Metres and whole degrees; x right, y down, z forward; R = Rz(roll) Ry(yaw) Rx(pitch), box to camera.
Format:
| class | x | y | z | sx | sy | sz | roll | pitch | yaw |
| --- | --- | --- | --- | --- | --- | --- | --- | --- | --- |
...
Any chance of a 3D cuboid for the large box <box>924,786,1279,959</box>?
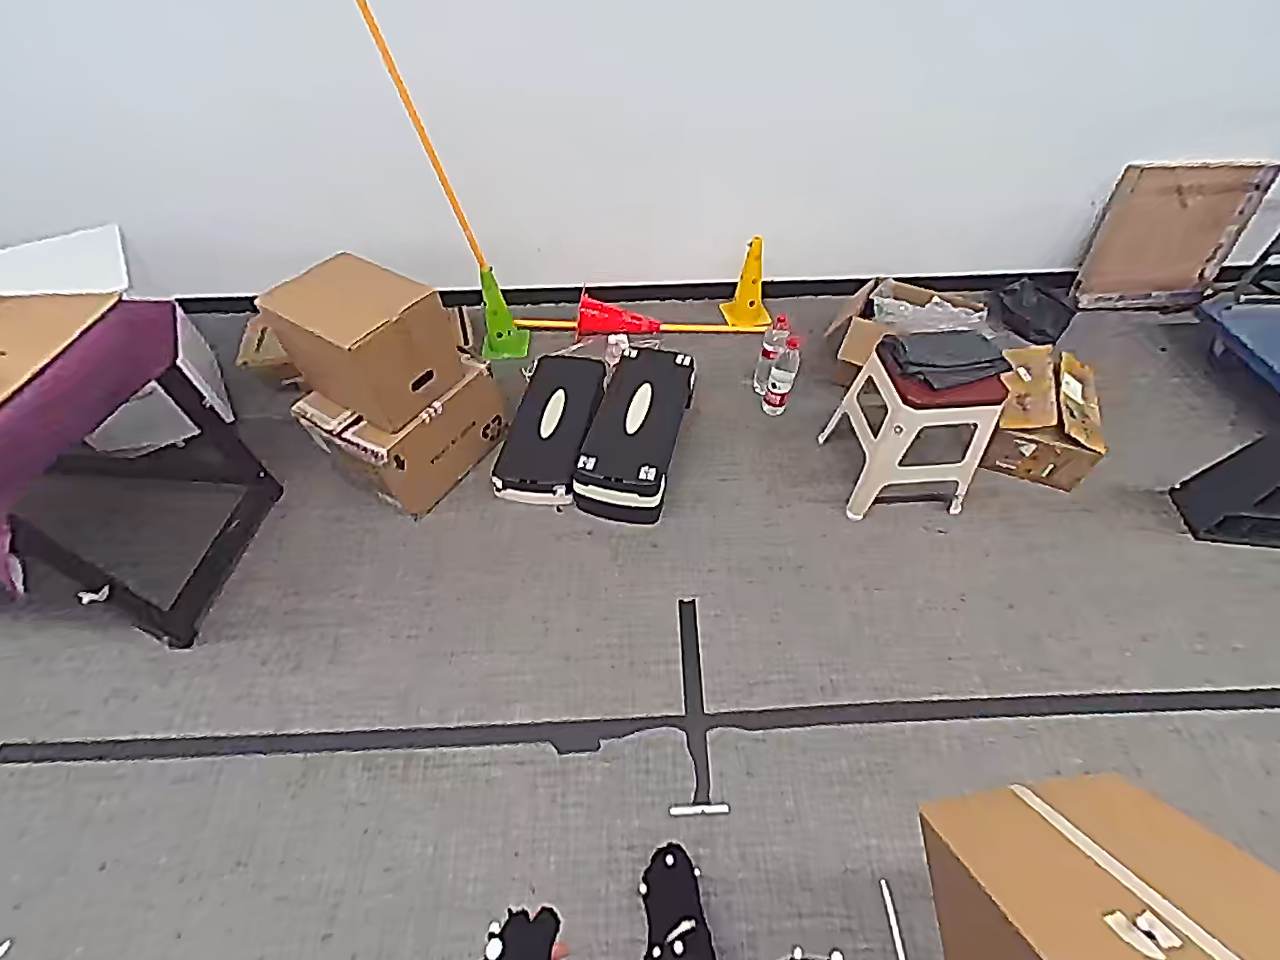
| class | x | y | z | sx | sy | sz | roll | pitch | yaw |
| --- | --- | --- | --- | --- | --- | --- | --- | --- | --- |
| large box | 0.604 | 0.637 | 0.631 | 0.320 | 0.408 | 0.320 | -10 | 90 | 0 |
